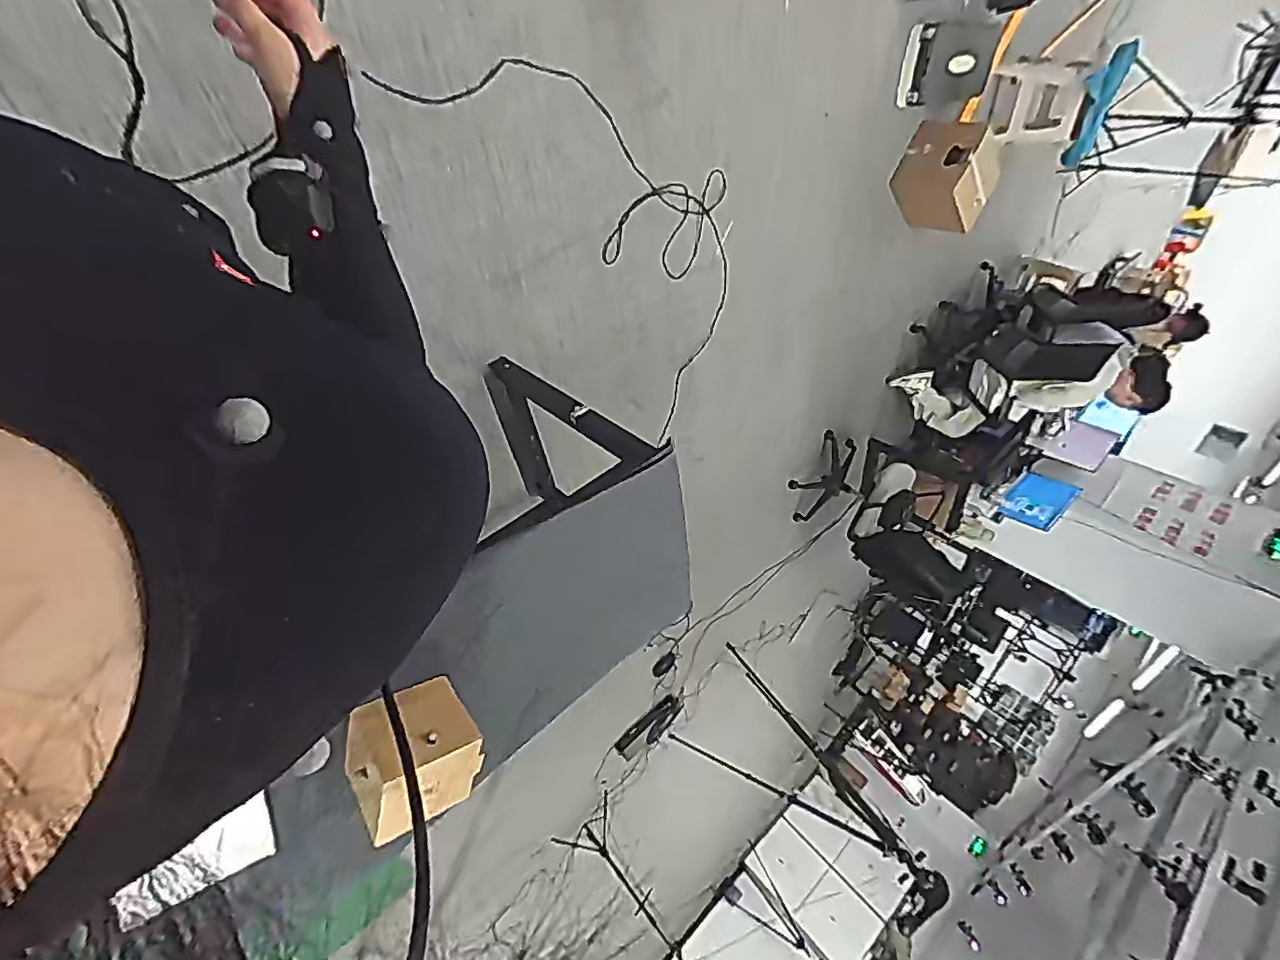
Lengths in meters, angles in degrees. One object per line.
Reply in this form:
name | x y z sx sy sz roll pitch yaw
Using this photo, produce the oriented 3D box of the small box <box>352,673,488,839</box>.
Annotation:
small box | -0.408 0.492 0.990 0.179 0.176 0.168 -9 123 -45
